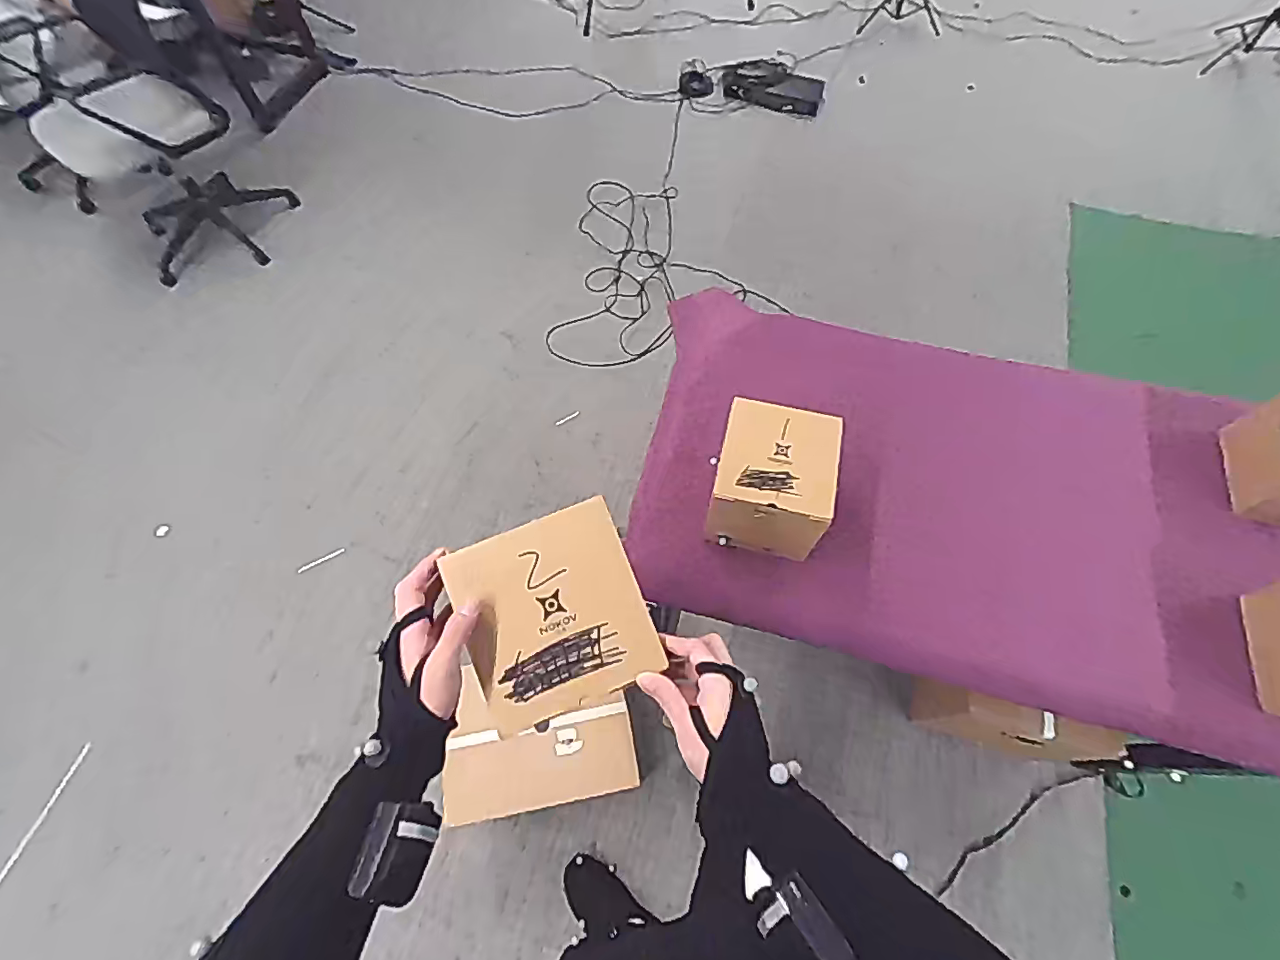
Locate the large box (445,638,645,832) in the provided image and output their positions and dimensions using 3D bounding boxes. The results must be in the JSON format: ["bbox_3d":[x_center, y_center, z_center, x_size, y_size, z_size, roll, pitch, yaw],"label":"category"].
[{"bbox_3d":[-0.214,0.603,1.290,0.408,0.320,0.320,-10,63,-5],"label":"large box"}]

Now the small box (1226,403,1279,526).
[{"bbox_3d":[1.078,-0.031,0.839,0.168,0.176,0.179,14,64,12],"label":"small box"}]

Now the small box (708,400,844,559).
[{"bbox_3d":[0.206,0.006,0.847,0.168,0.176,0.179,12,62,8],"label":"small box"}]

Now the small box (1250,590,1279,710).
[{"bbox_3d":[0.968,0.231,0.702,0.168,0.176,0.179,15,61,11],"label":"small box"}]
